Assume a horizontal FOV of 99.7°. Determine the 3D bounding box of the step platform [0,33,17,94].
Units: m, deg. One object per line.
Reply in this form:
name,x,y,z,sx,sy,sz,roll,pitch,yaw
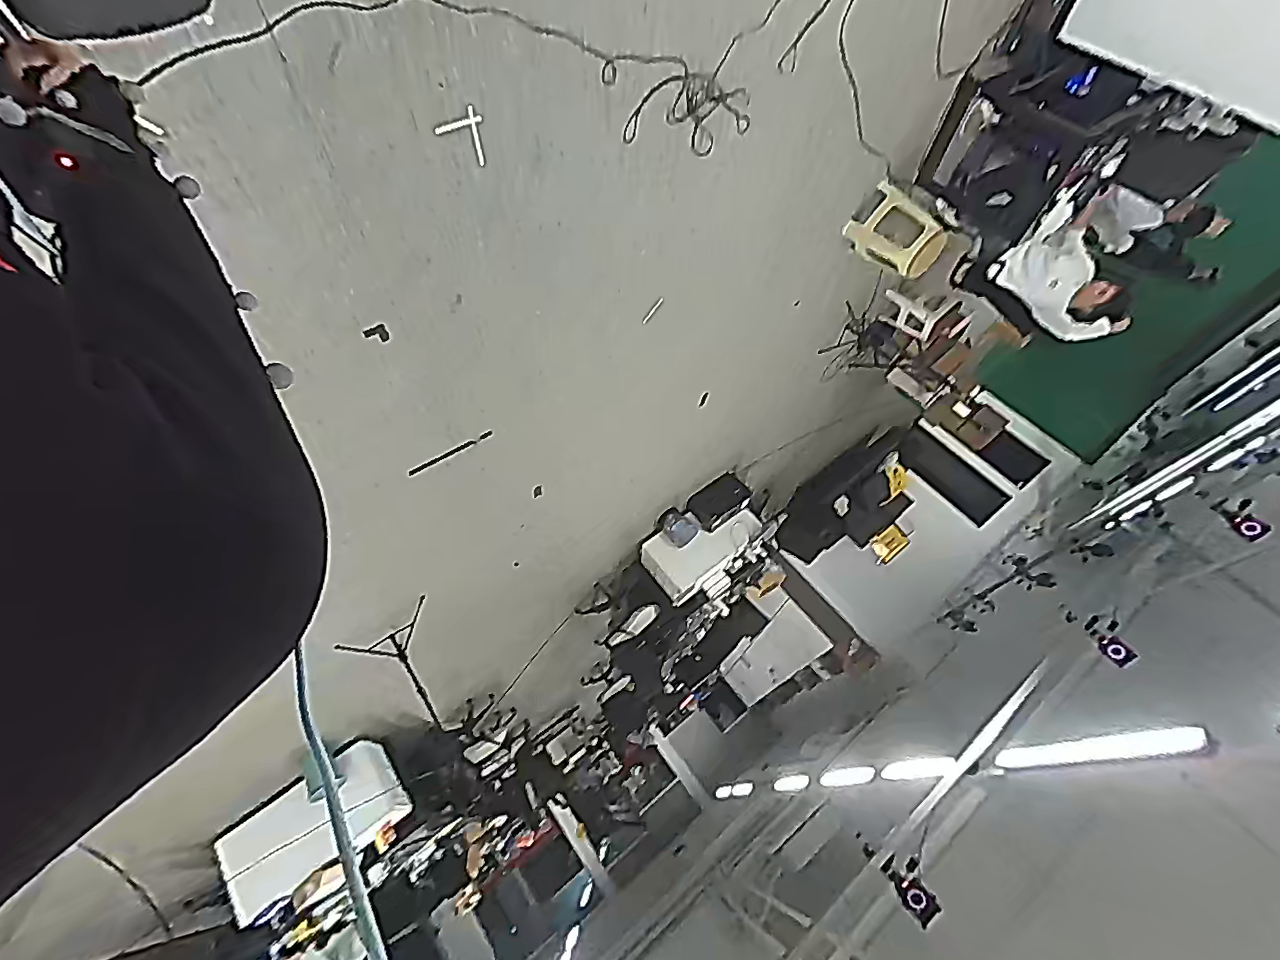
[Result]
step platform,-1.080,-0.780,0.557,0.286,0.204,0.684,-32,153,-25
